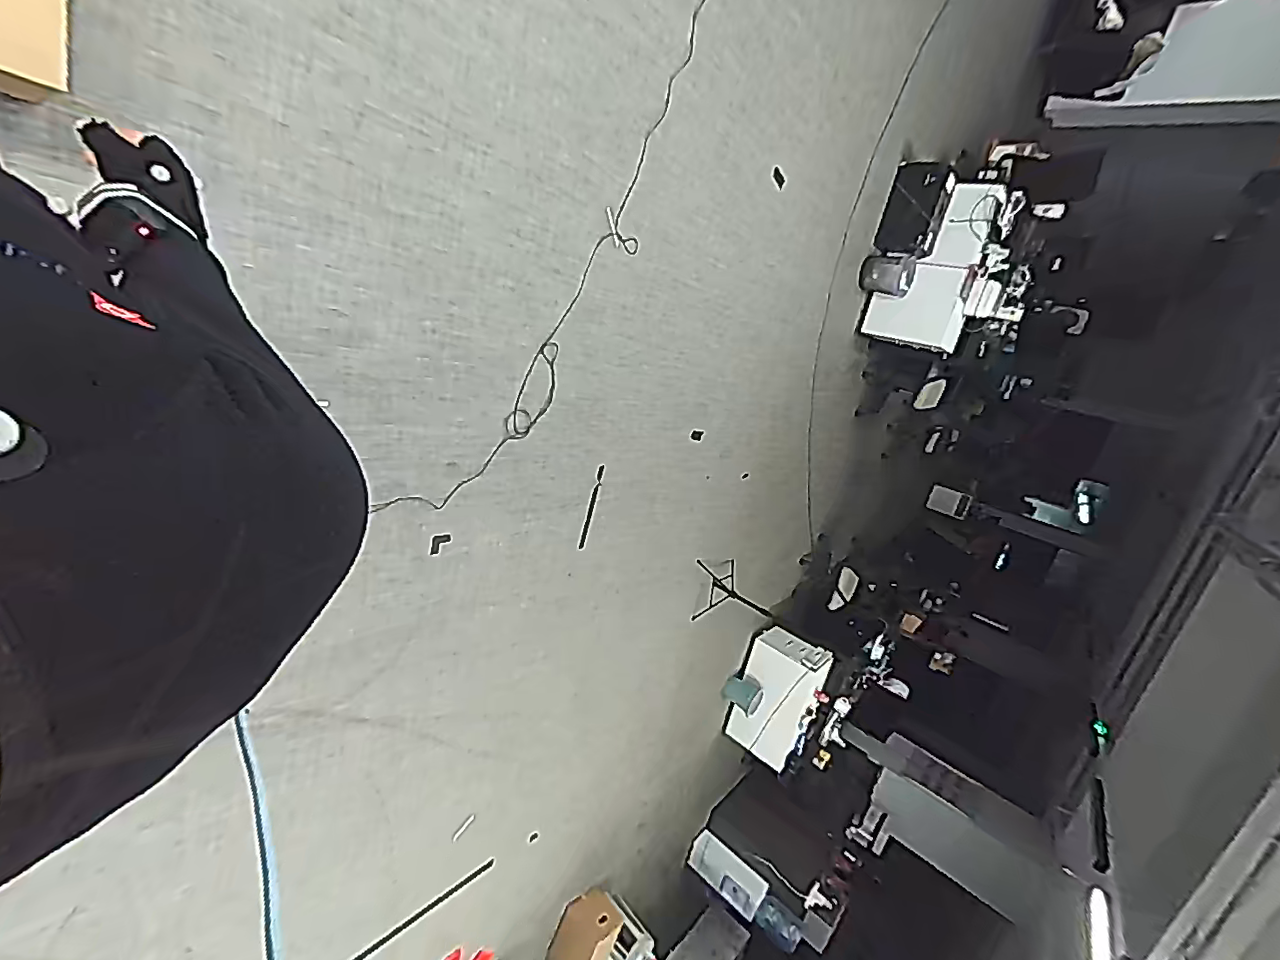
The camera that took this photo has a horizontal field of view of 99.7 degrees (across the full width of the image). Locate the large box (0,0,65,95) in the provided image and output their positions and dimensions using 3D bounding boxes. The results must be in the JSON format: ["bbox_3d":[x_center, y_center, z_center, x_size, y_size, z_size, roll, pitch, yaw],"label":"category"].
[{"bbox_3d":[-0.996,-0.723,0.634,0.408,0.320,0.320,-6,115,-53],"label":"large box"}]
